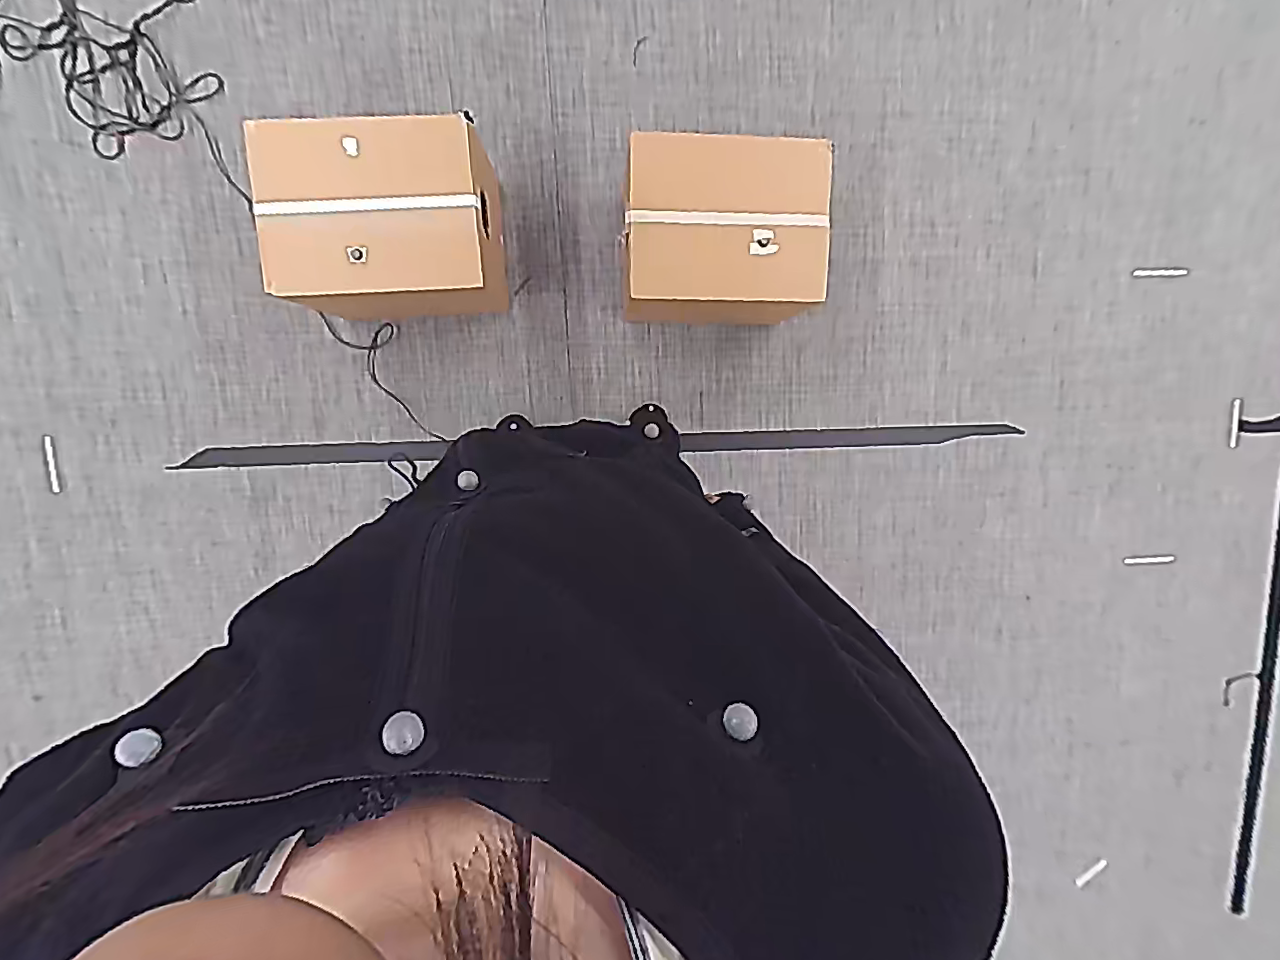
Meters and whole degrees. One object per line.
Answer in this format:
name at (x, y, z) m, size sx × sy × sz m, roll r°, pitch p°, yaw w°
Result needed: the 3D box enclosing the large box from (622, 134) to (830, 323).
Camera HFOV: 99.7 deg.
large box at (0.169, -0.539, 1.228) m, size 0.408 × 0.320 × 0.320 m, roll 0°, pitch 98°, yaw -5°
